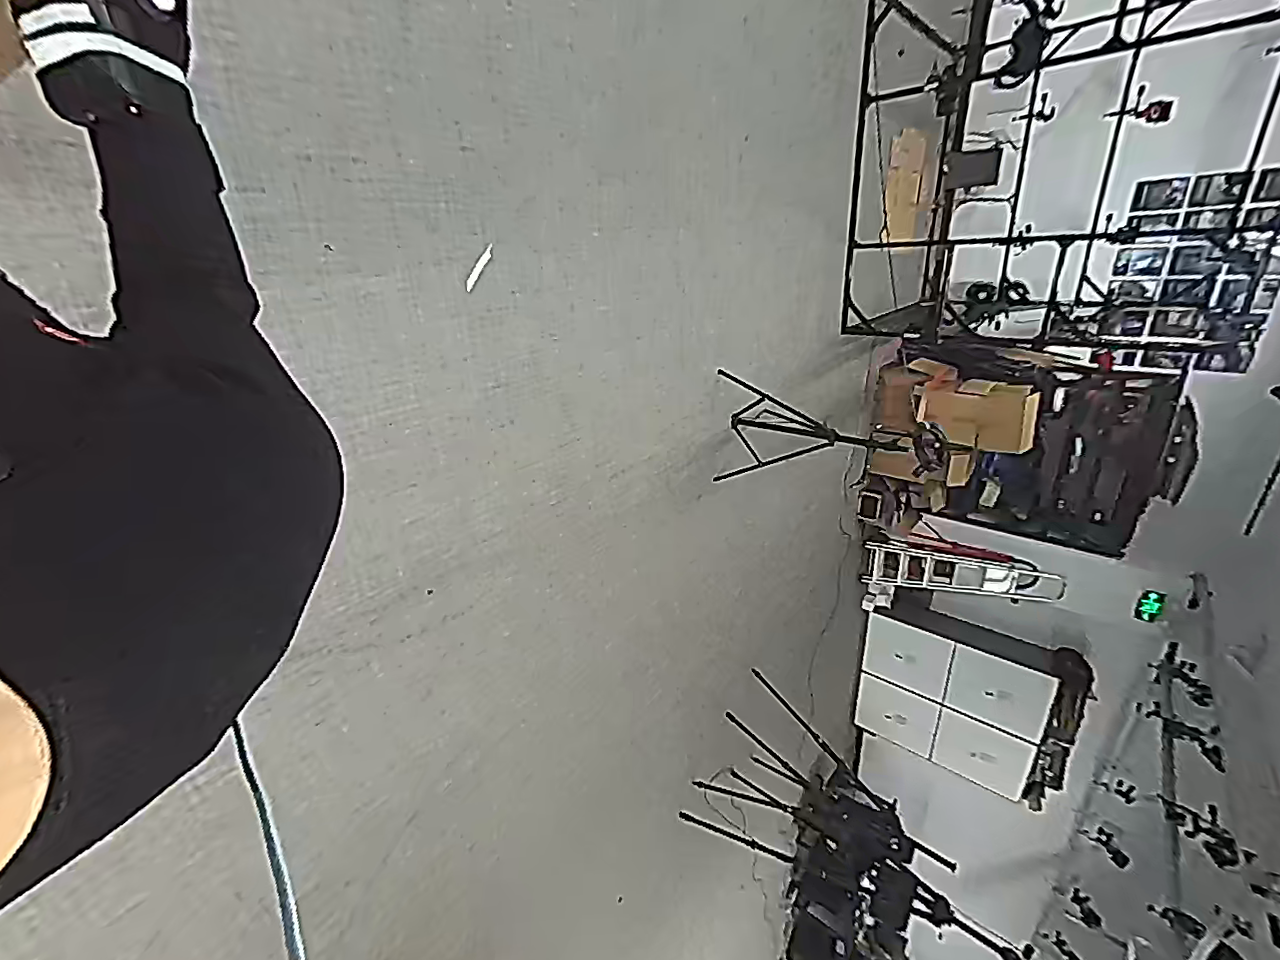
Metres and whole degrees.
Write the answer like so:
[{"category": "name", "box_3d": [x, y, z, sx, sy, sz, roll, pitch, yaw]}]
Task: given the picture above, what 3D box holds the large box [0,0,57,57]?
[{"category": "large box", "box_3d": [-0.605, -0.448, 0.234, 0.408, 0.320, 0.320, -23, 123, -51]}]
